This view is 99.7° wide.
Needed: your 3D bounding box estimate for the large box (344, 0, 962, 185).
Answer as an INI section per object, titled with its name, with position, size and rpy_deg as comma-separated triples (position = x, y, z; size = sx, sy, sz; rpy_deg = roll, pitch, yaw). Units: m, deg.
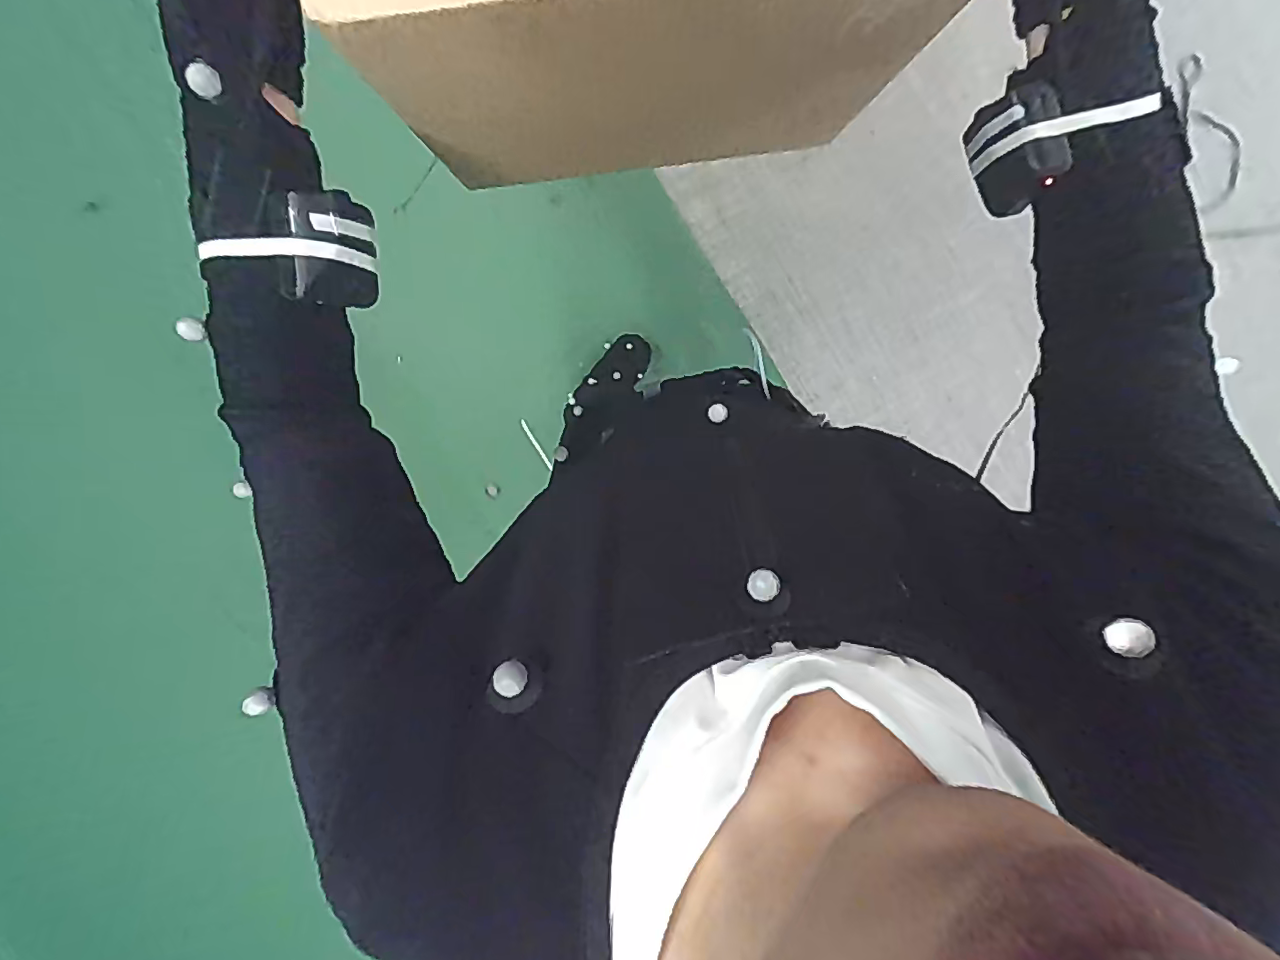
[large box]
position = 0.003, -0.462, 0.417
size = 0.408, 0.320, 0.320
rpy_deg = -7, 103, -1
